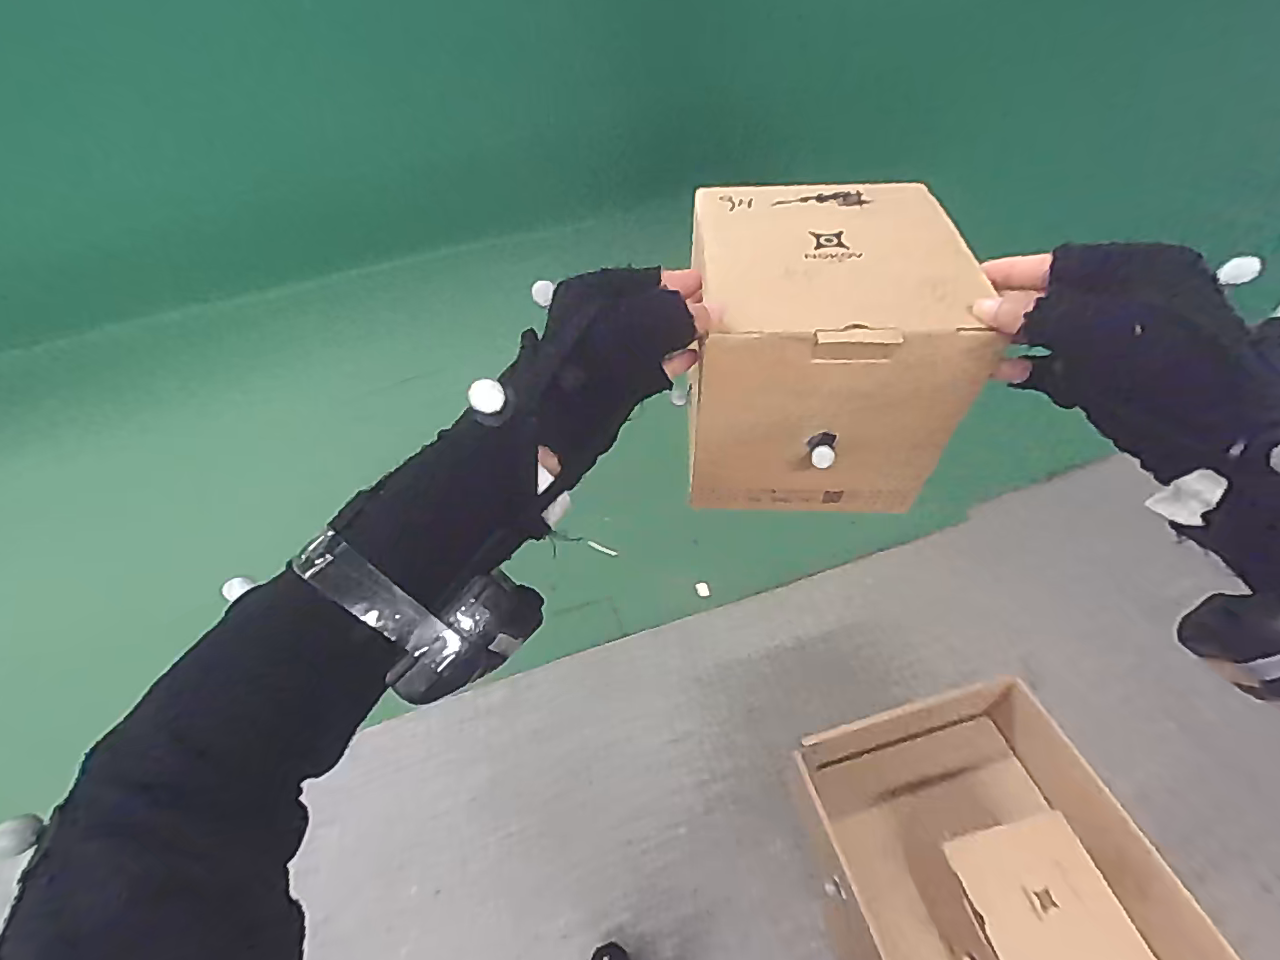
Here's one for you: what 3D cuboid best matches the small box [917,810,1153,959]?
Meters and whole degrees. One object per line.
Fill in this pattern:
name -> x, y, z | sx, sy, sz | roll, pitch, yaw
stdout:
small box -> 0.507, 0.578, 0.735 | 0.179, 0.176, 0.168 | -12, 49, -6
